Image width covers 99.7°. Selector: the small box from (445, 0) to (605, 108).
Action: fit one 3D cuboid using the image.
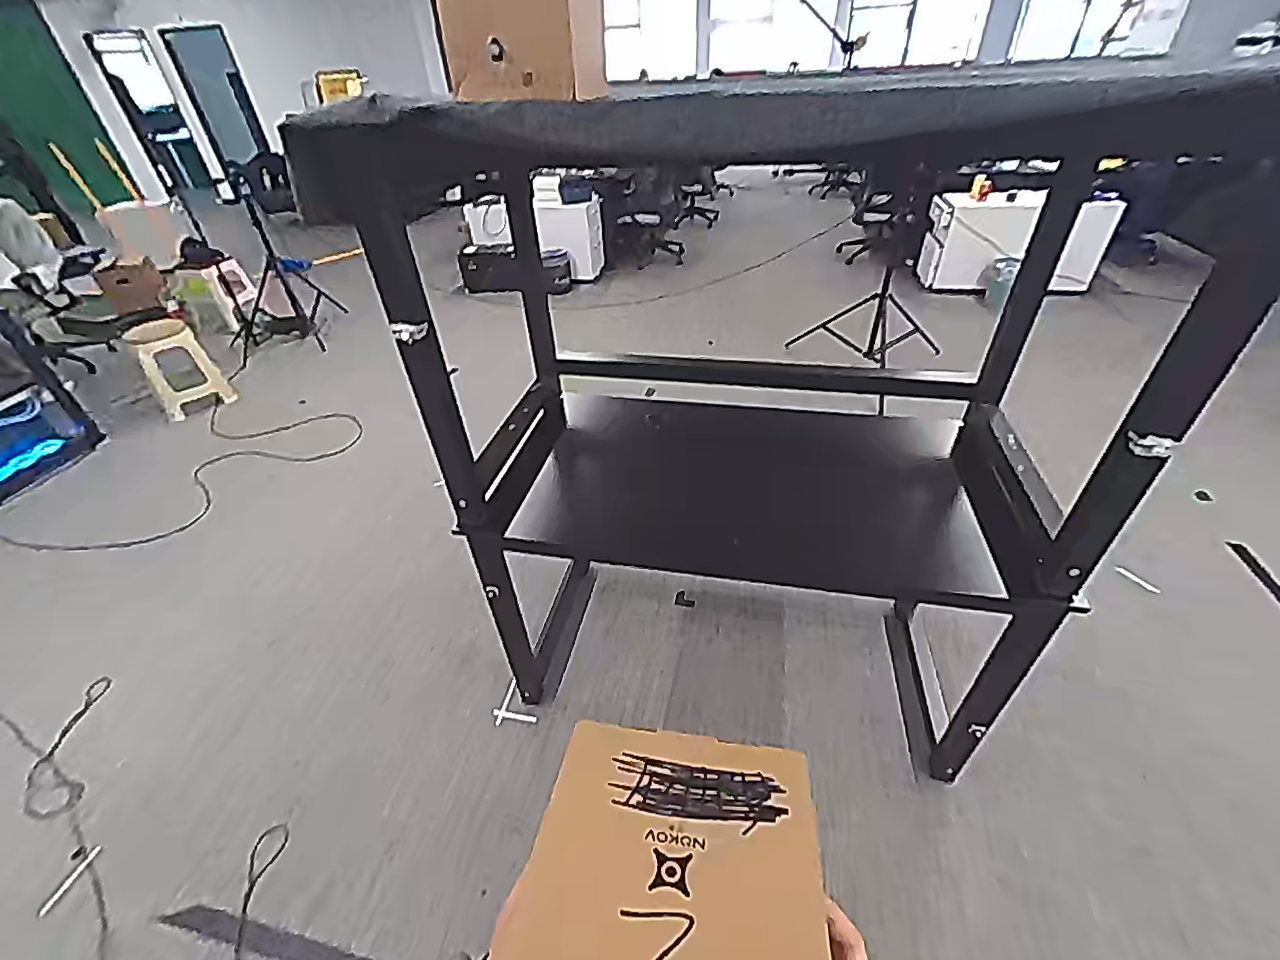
[{"bbox_3d":[-0.143,-0.591,0.703,0.168,0.176,0.179,5,38,9],"label":"small box"}]
